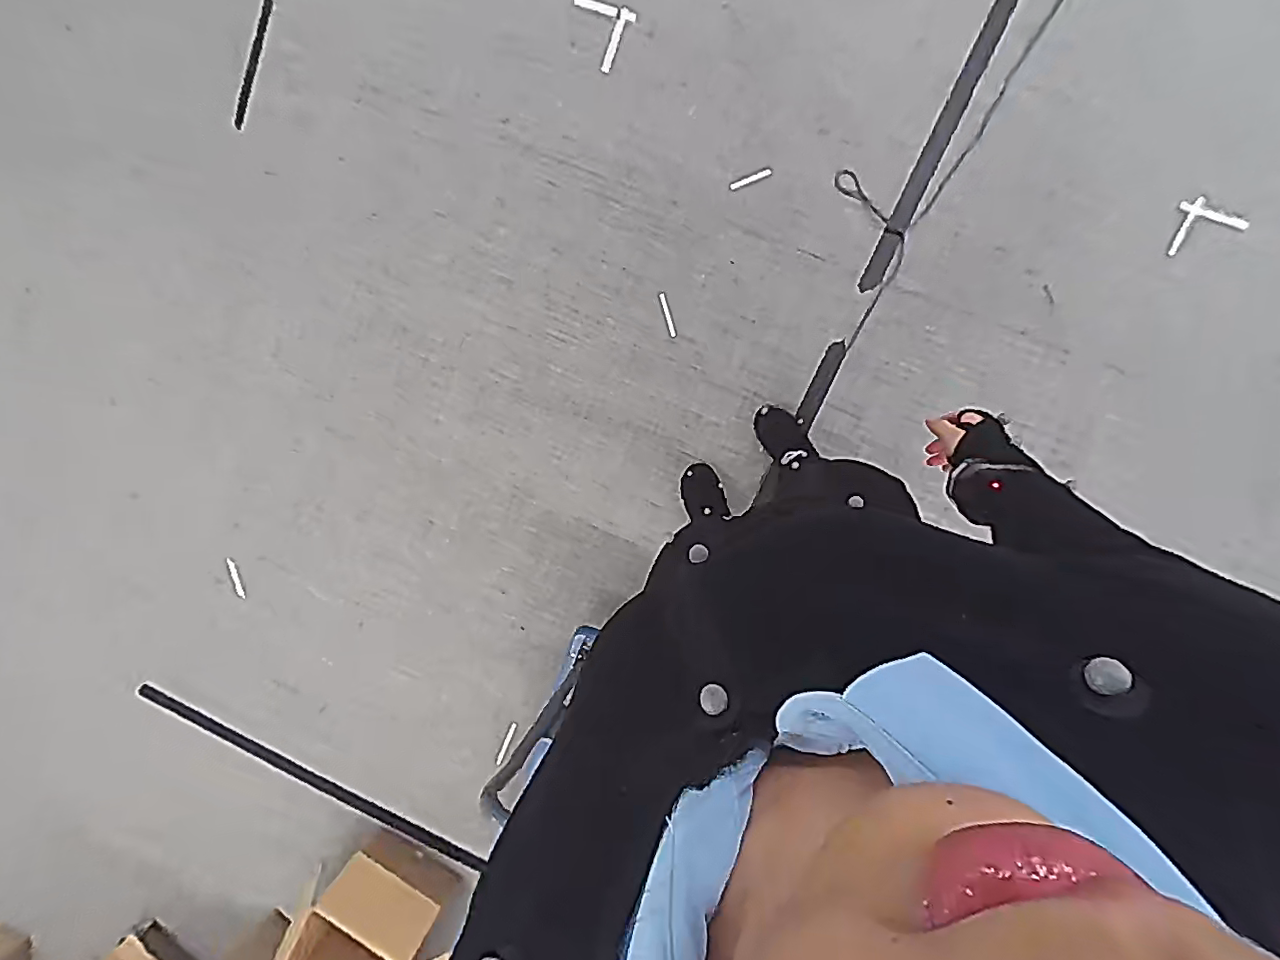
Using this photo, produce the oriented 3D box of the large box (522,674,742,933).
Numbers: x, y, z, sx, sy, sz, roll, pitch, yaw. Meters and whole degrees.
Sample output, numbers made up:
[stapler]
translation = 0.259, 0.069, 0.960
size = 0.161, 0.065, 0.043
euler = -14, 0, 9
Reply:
[large box]
translation = 0.001, 0.716, 1.259
size = 0.408, 0.320, 0.320
euler = 19, 97, 7
